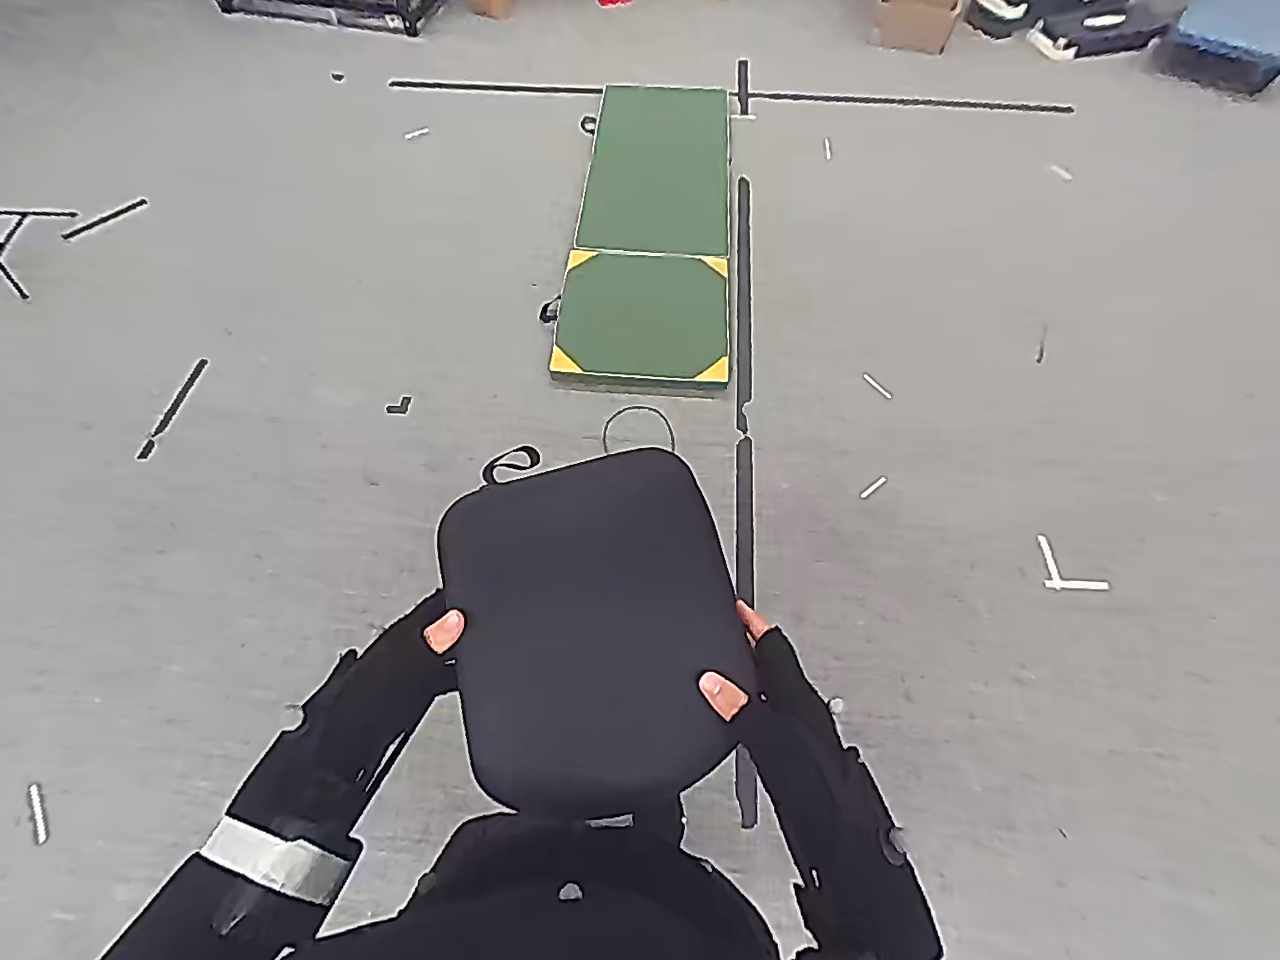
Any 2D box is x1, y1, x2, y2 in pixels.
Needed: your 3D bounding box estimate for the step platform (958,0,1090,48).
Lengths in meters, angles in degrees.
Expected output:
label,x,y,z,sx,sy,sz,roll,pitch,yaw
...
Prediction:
label,x,y,z,sx,sy,sz,roll,pitch,yaw
step platform,2.148,-2.630,3.000,0.684,0.204,0.286,-22,64,-12
